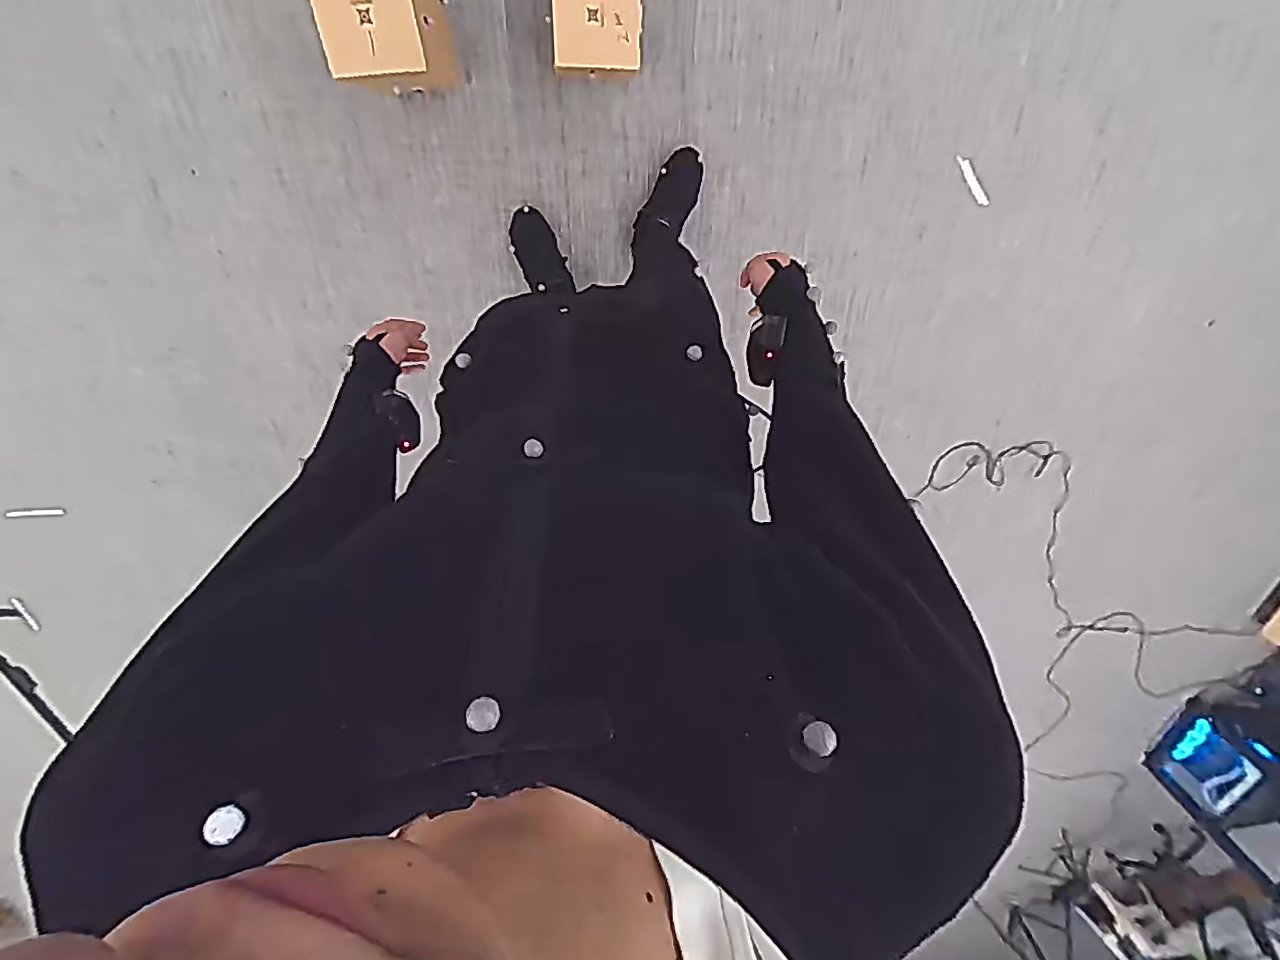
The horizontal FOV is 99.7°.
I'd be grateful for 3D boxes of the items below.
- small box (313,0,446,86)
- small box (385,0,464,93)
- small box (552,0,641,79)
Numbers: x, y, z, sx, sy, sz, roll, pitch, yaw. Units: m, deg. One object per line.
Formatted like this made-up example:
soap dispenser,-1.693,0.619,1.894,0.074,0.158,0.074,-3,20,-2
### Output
small box,-0.461,-0.821,0.962,0.168,0.176,0.179,-6,122,-3
small box,-0.471,-0.910,1.100,0.168,0.176,0.179,-7,122,-2
small box,-0.093,-0.947,1.125,0.179,0.176,0.168,-2,121,-7
